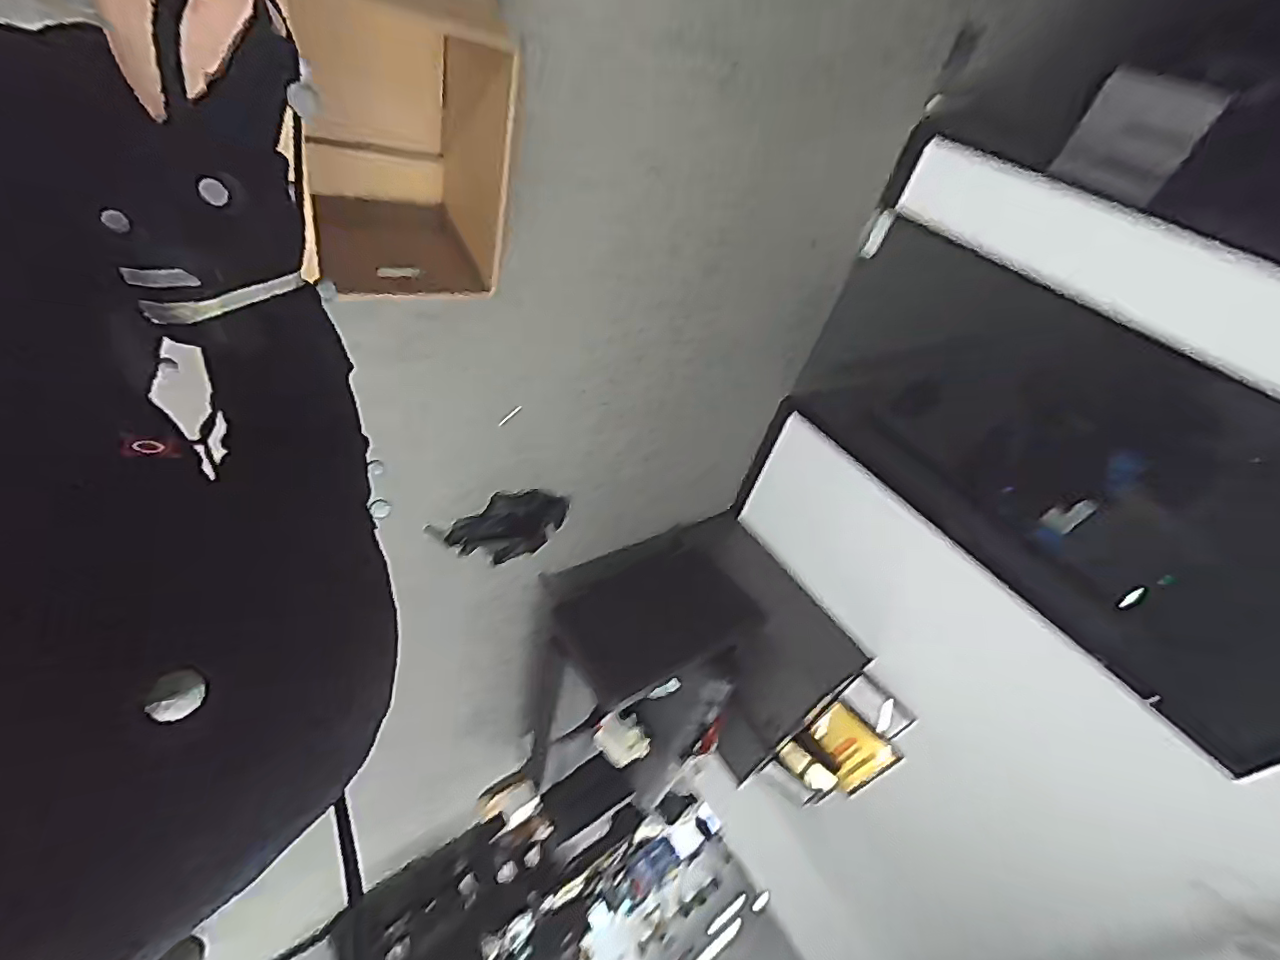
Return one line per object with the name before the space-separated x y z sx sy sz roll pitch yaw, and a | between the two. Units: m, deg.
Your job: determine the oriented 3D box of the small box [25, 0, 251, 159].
small box | -0.697 -0.586 0.760 0.176 0.168 0.179 25 118 -16
